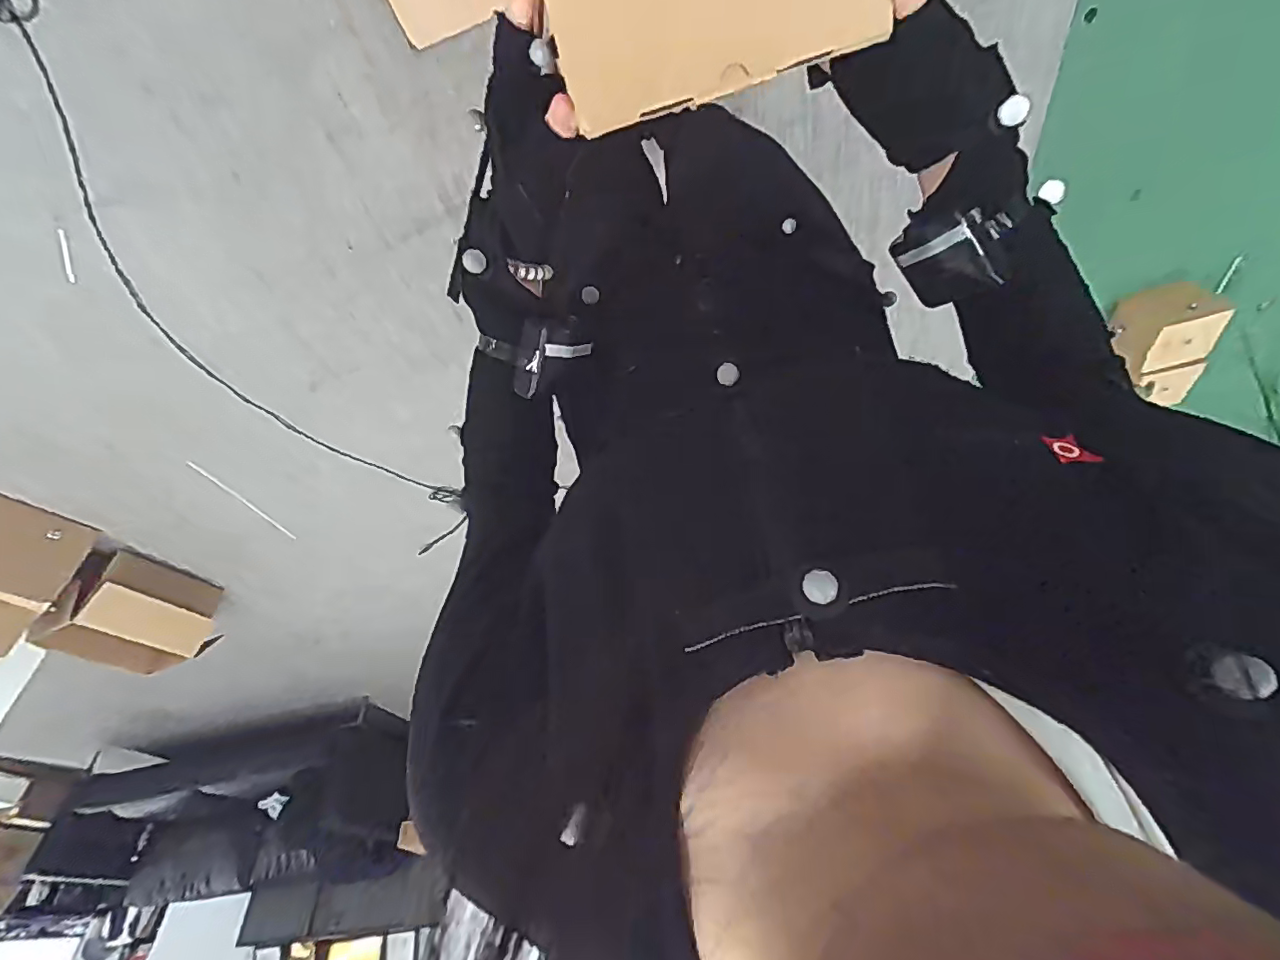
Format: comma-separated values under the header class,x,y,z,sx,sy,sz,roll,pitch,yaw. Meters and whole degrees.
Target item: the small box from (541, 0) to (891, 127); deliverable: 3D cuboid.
class,x,y,z,sx,sy,sz,roll,pitch,yaw
small box,0.017,-0.319,0.289,0.168,0.176,0.179,-17,130,3
